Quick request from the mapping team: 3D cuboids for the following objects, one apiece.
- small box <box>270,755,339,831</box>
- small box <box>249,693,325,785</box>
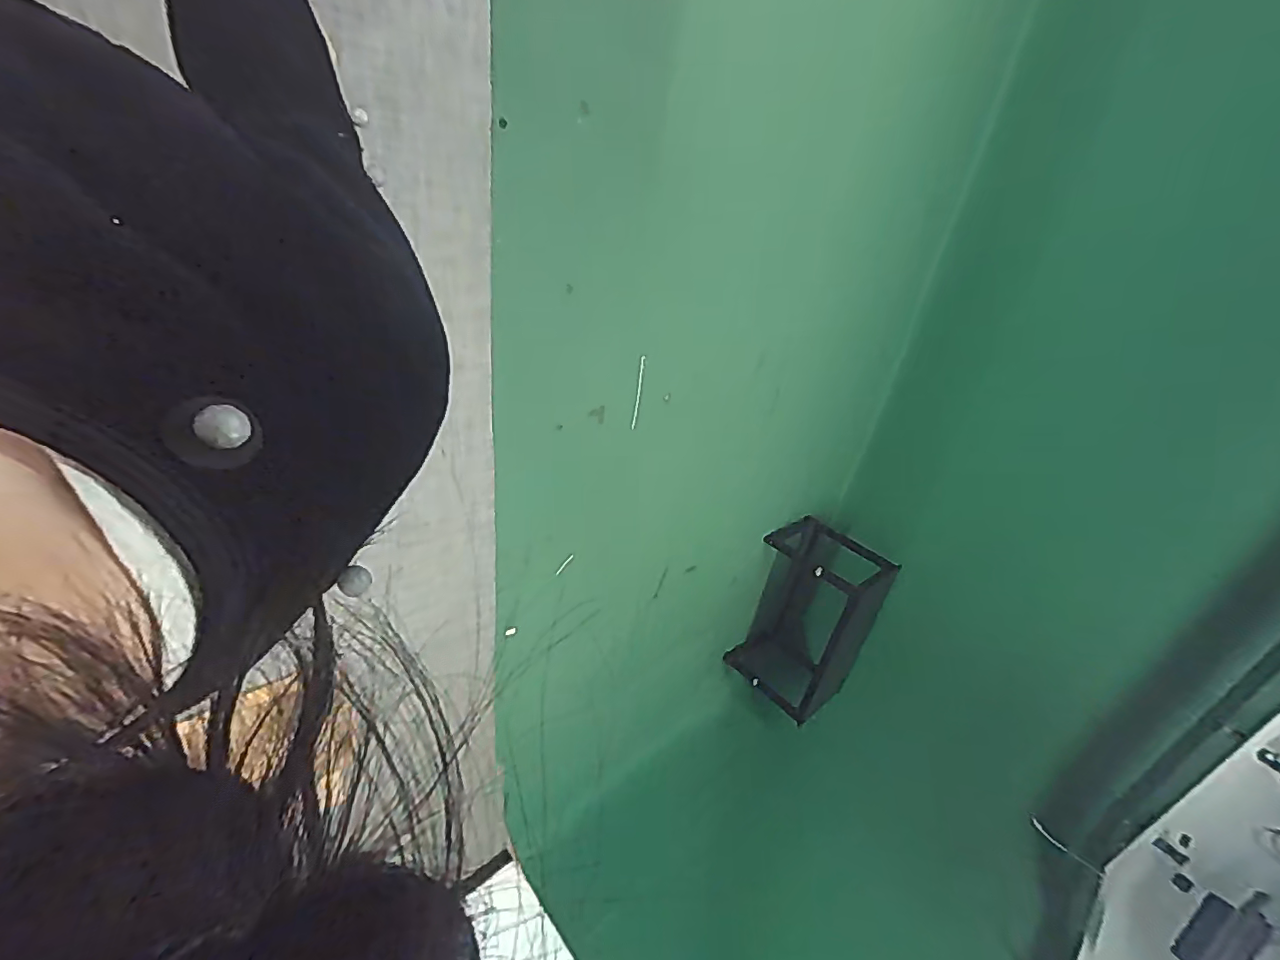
[{"bbox_3d":[-1.151,1.032,1.841,0.168,0.176,0.179,-18,130,-40],"label":"small box"},{"bbox_3d":[-1.114,0.806,1.708,0.168,0.176,0.179,-13,126,-42],"label":"small box"}]
